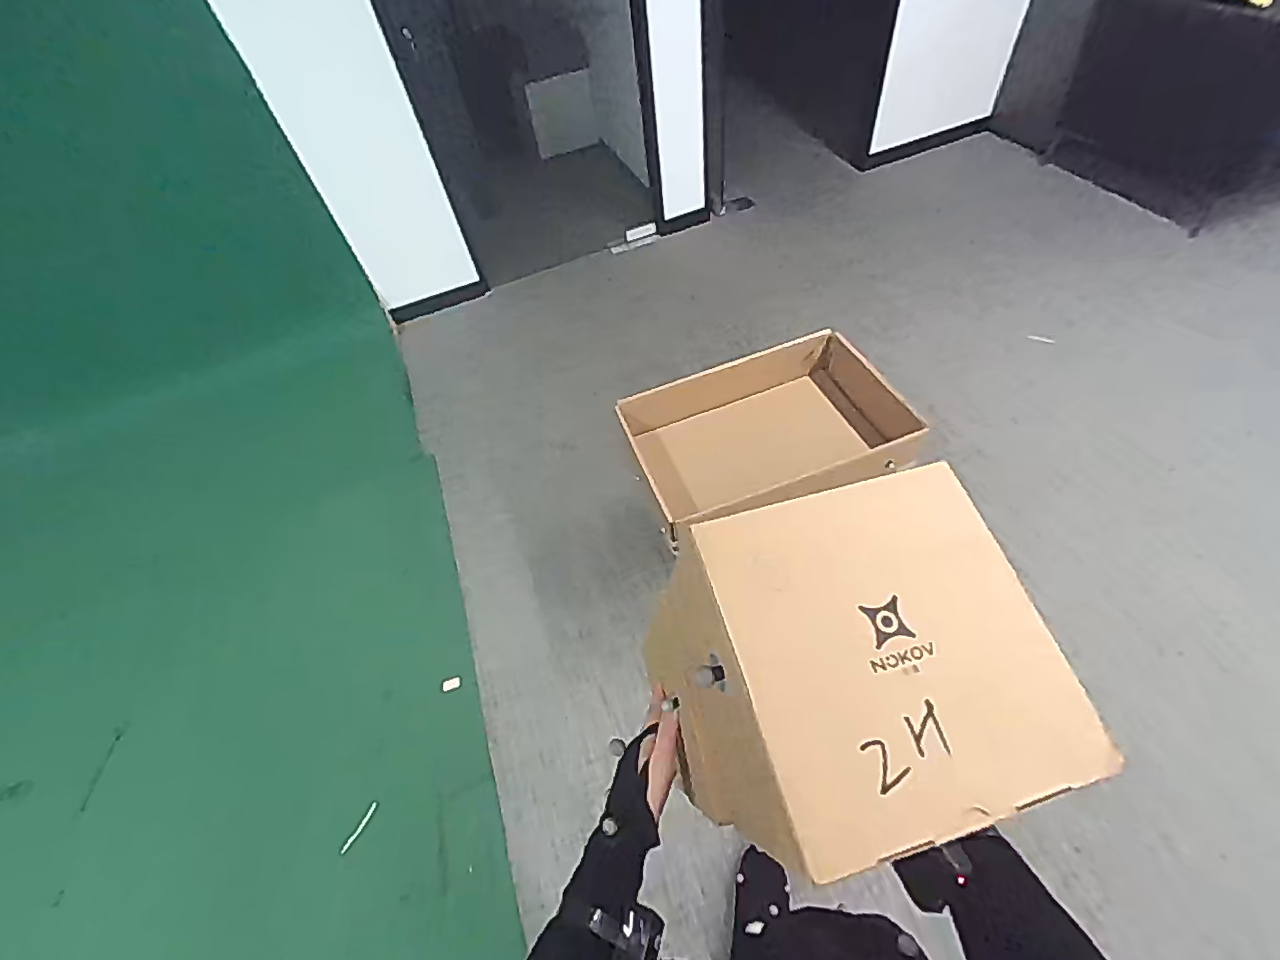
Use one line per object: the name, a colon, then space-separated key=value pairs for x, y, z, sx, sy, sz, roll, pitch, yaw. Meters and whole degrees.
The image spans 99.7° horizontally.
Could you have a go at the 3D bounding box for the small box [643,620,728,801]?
small box: x=0.105 y=0.255 z=0.644 sx=0.168 sy=0.176 sz=0.179 roll=-12 pitch=66 yaw=-9

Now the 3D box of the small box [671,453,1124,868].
small box: x=0.125 y=0.110 z=0.348 sx=0.168 sy=0.176 sz=0.179 roll=-13 pitch=66 yaw=-9
